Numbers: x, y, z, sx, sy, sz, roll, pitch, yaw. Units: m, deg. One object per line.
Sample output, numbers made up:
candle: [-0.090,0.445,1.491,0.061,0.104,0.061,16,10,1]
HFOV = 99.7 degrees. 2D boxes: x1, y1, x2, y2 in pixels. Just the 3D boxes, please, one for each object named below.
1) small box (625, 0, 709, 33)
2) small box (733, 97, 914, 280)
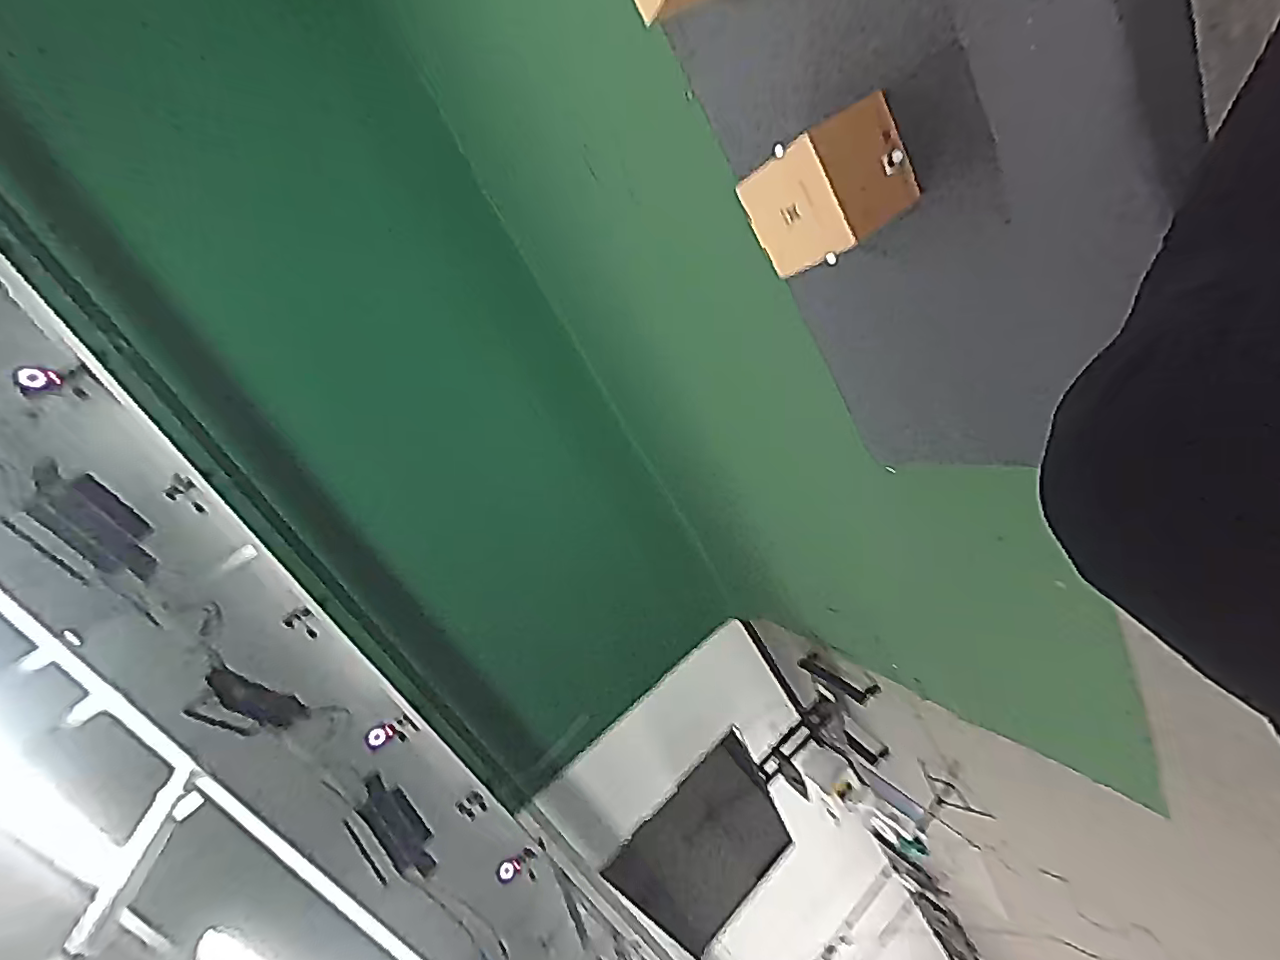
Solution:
small box: [0.059,-0.790,0.750,0.168,0.176,0.179,57,162,-18]
small box: [0.288,-0.453,0.856,0.168,0.176,0.179,55,161,-15]
